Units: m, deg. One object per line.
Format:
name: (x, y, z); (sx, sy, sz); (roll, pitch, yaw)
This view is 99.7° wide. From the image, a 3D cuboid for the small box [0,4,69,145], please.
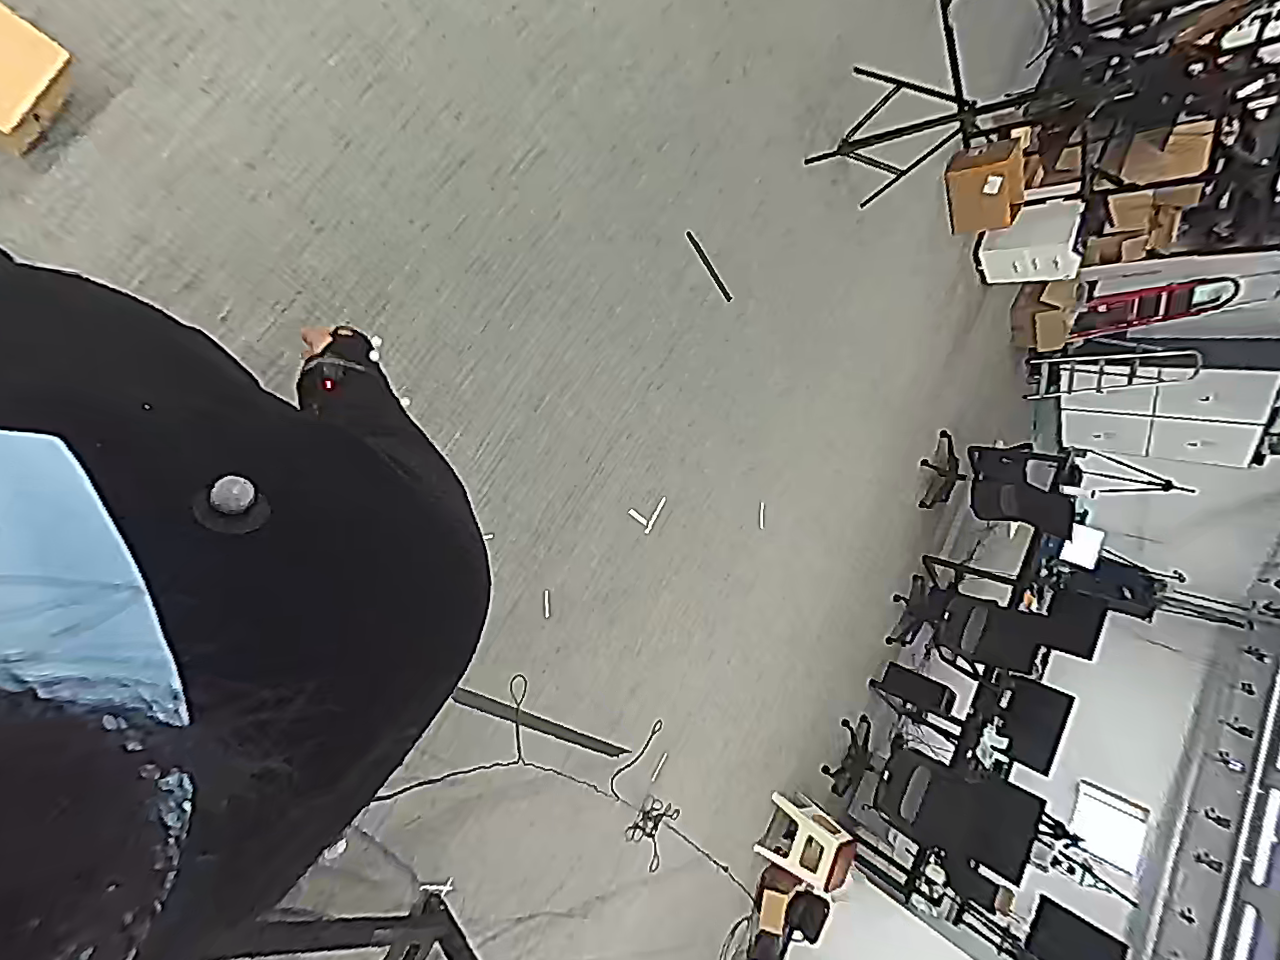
small box: (-1.045, -0.657, 0.839); (0.179, 0.176, 0.168); (35, 77, -43)
